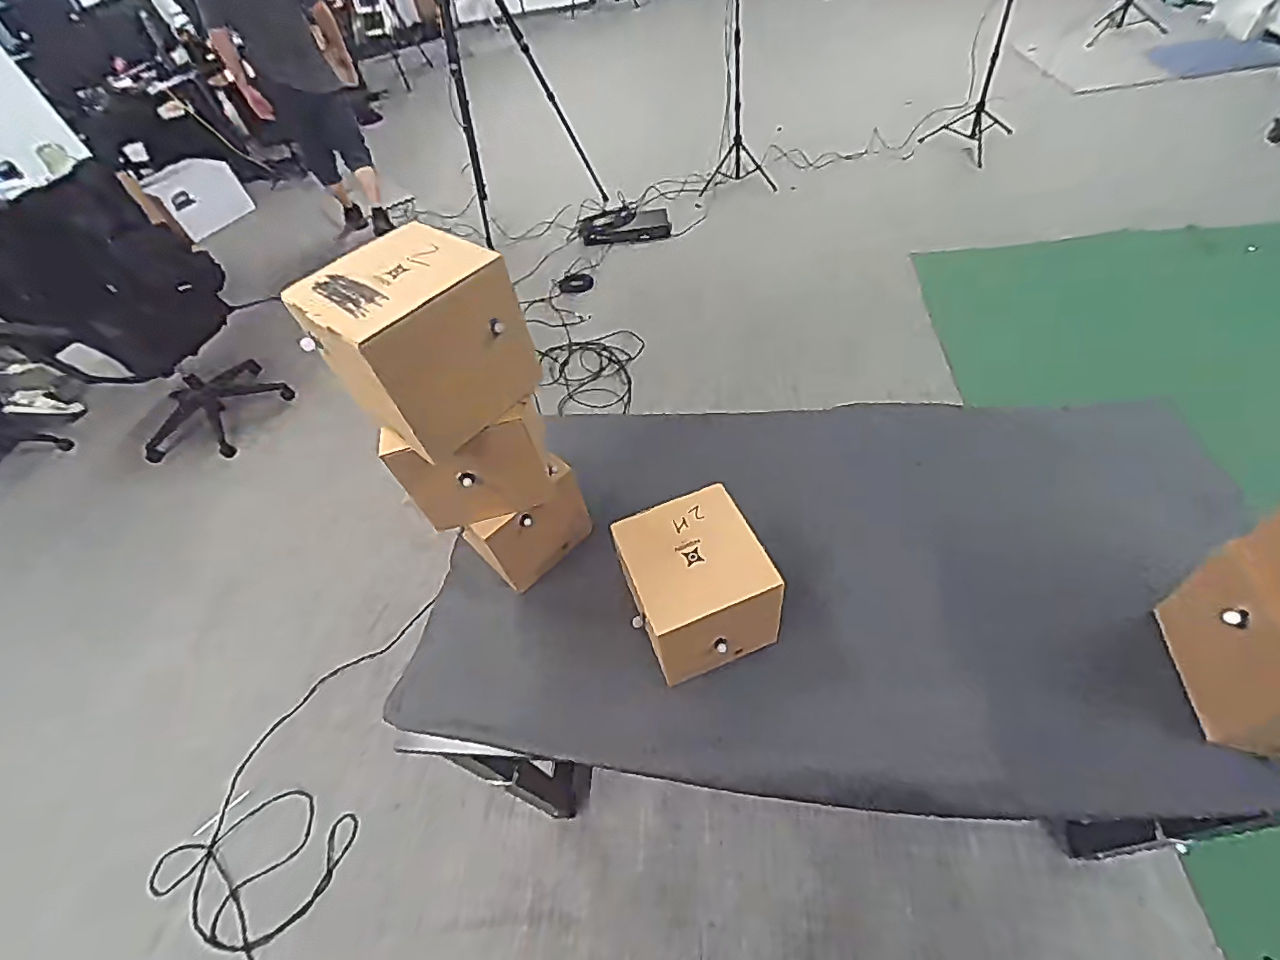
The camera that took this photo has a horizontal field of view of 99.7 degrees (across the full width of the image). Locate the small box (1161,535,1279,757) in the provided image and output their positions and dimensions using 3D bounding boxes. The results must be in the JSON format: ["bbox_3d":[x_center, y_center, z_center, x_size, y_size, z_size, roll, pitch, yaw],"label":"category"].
[{"bbox_3d":[0.717,0.184,0.574,0.168,0.176,0.179,4,49,17],"label":"small box"}]

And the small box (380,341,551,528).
[{"bbox_3d":[-0.229,-0.059,0.749,0.179,0.176,0.168,-16,51,-2],"label":"small box"}]

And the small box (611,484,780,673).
[{"bbox_3d":[0.075,0.142,0.740,0.168,0.176,0.179,-20,50,-7],"label":"small box"}]

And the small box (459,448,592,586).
[{"bbox_3d":[-0.205,0.041,0.879,0.168,0.176,0.179,-41,56,-21],"label":"small box"}]
